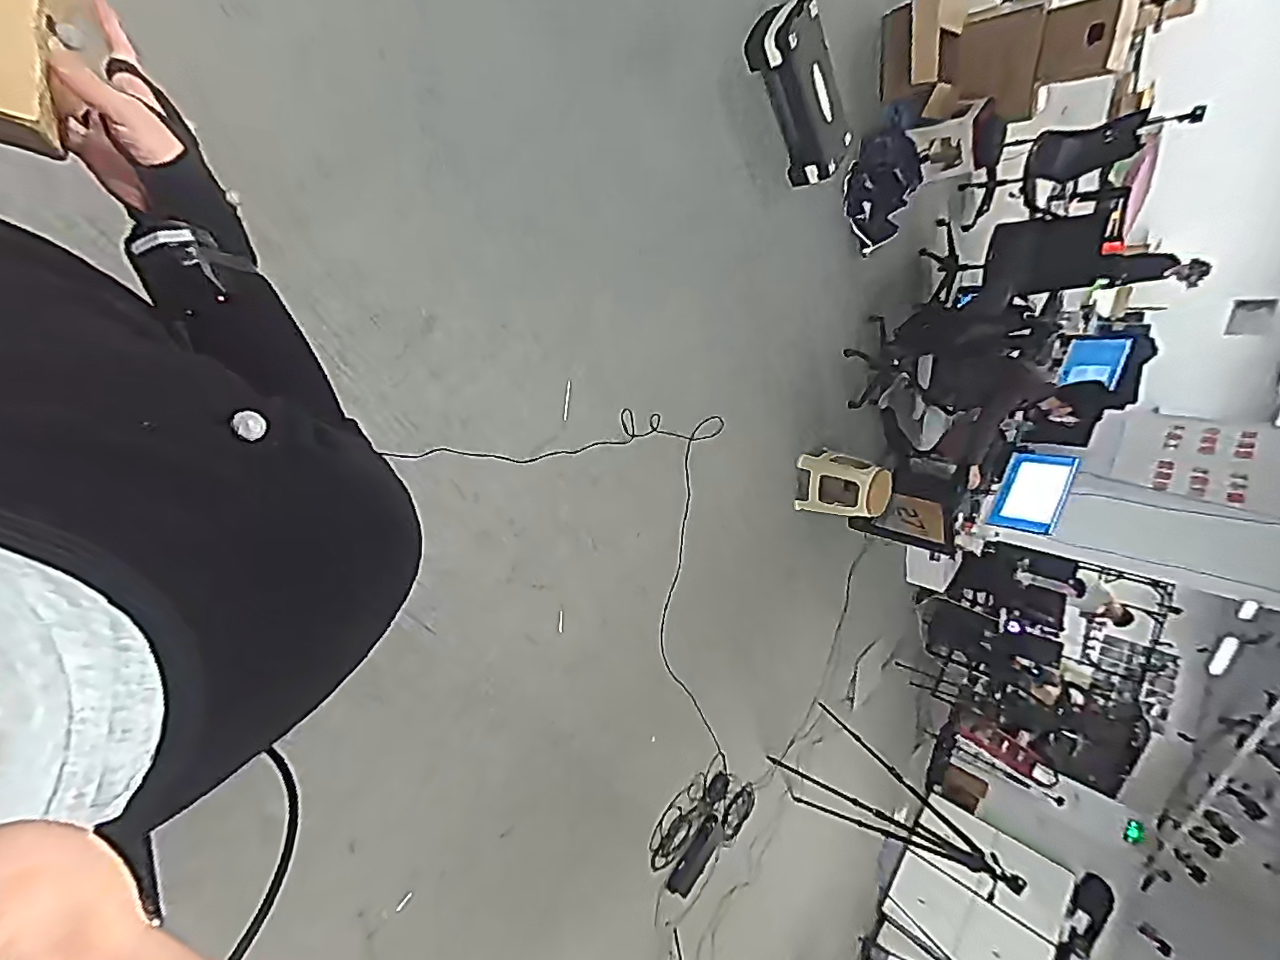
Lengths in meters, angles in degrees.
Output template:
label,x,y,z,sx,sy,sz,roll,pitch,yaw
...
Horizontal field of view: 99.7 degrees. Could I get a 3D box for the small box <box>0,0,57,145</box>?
label,x,y,z,sx,sy,sz,roll,pitch,yaw
small box,-0.451,-0.315,0.302,0.168,0.176,0.179,0,109,-45
